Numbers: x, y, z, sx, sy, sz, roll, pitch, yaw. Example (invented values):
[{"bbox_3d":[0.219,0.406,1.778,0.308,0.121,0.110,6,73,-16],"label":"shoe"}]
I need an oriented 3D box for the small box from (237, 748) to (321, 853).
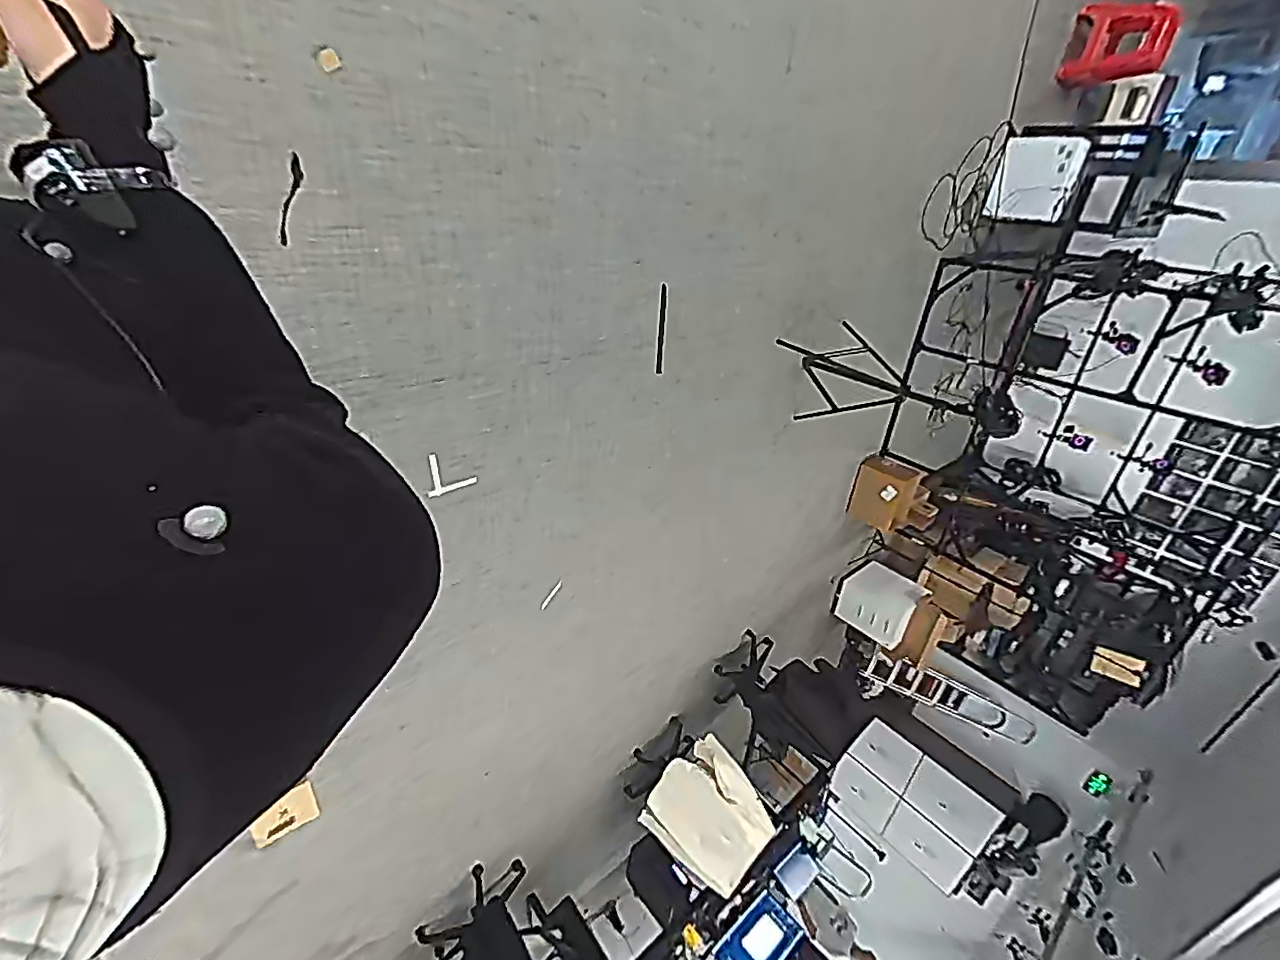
[{"bbox_3d":[-1.087,0.958,1.629,0.168,0.176,0.179,-19,125,-37],"label":"small box"}]
